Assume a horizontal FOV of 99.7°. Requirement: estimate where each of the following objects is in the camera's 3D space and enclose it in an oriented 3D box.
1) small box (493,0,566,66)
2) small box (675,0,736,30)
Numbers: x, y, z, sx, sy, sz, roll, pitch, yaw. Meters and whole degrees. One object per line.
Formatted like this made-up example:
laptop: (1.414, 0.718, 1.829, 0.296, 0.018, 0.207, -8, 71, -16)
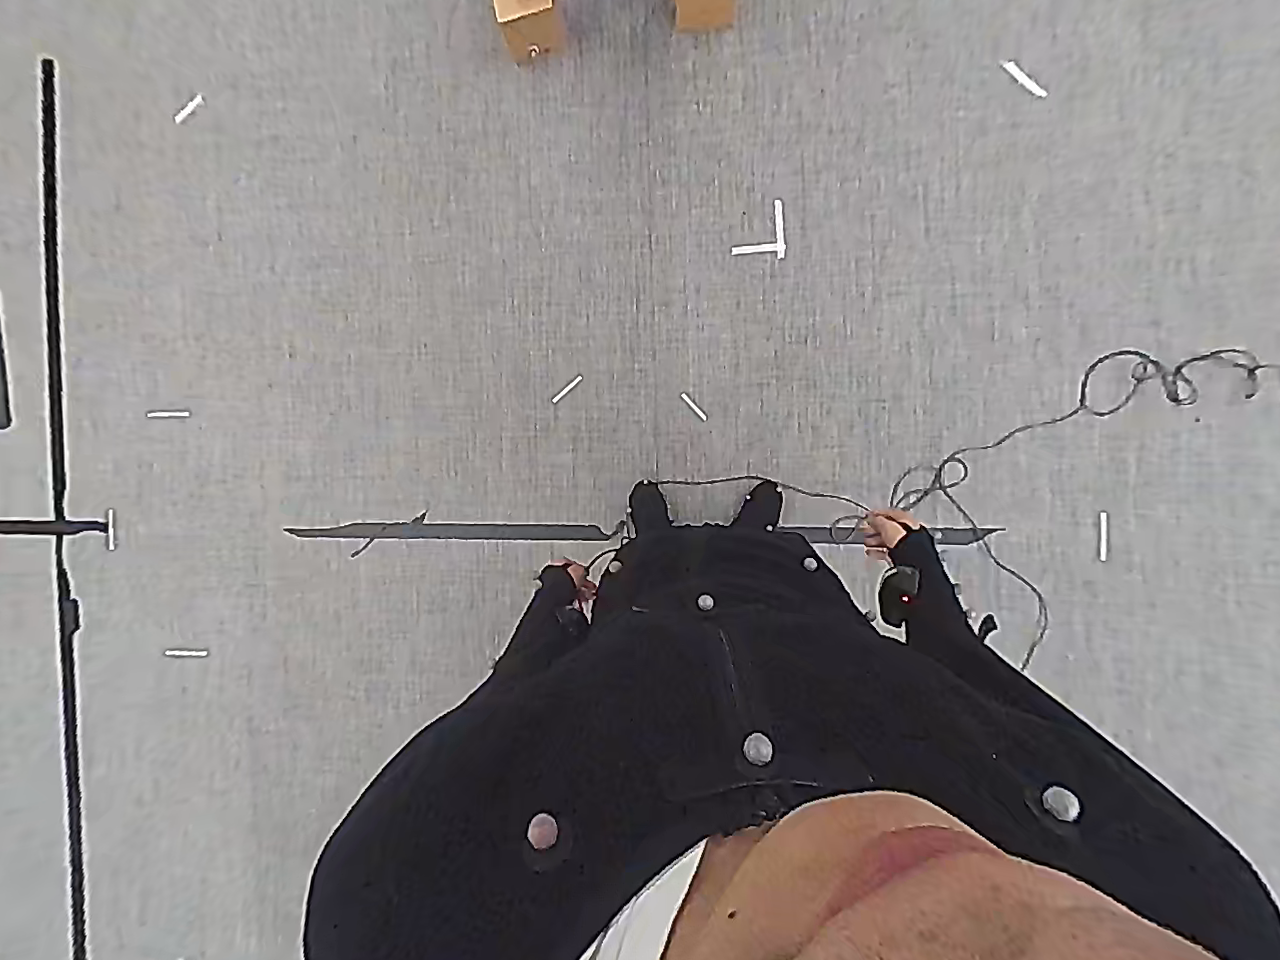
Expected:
small box: (-0.330, -1.381, 1.592, 0.168, 0.176, 0.179, -12, 89, 6)
small box: (0.187, -1.432, 1.541, 0.179, 0.176, 0.168, -1, 90, 5)
